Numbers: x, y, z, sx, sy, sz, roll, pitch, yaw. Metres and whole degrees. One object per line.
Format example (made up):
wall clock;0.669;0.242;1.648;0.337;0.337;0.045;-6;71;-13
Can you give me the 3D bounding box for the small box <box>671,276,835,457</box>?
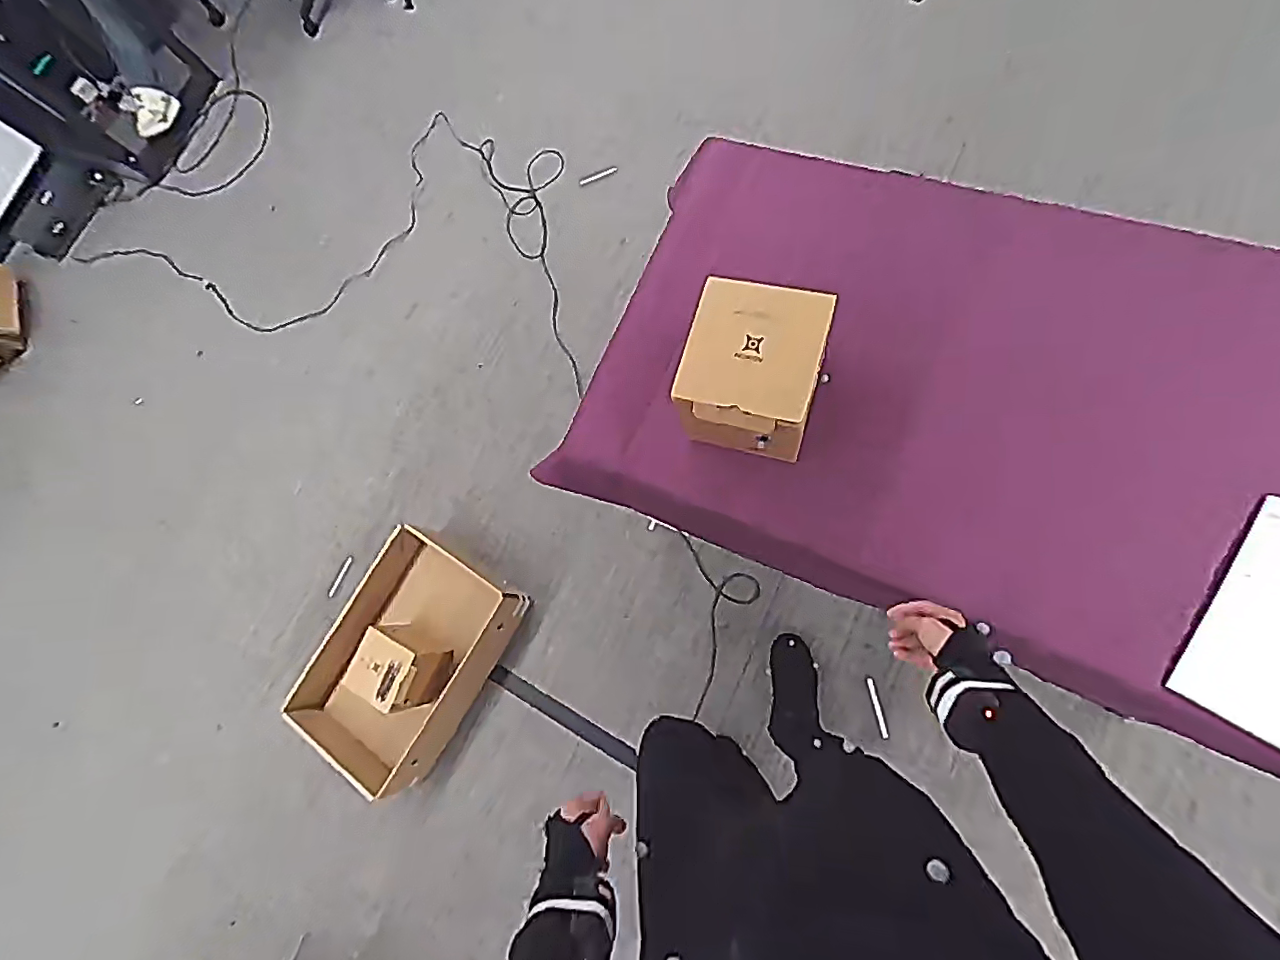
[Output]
small box;0.156;-0.145;0.740;0.168;0.176;0.179;15;80;16
